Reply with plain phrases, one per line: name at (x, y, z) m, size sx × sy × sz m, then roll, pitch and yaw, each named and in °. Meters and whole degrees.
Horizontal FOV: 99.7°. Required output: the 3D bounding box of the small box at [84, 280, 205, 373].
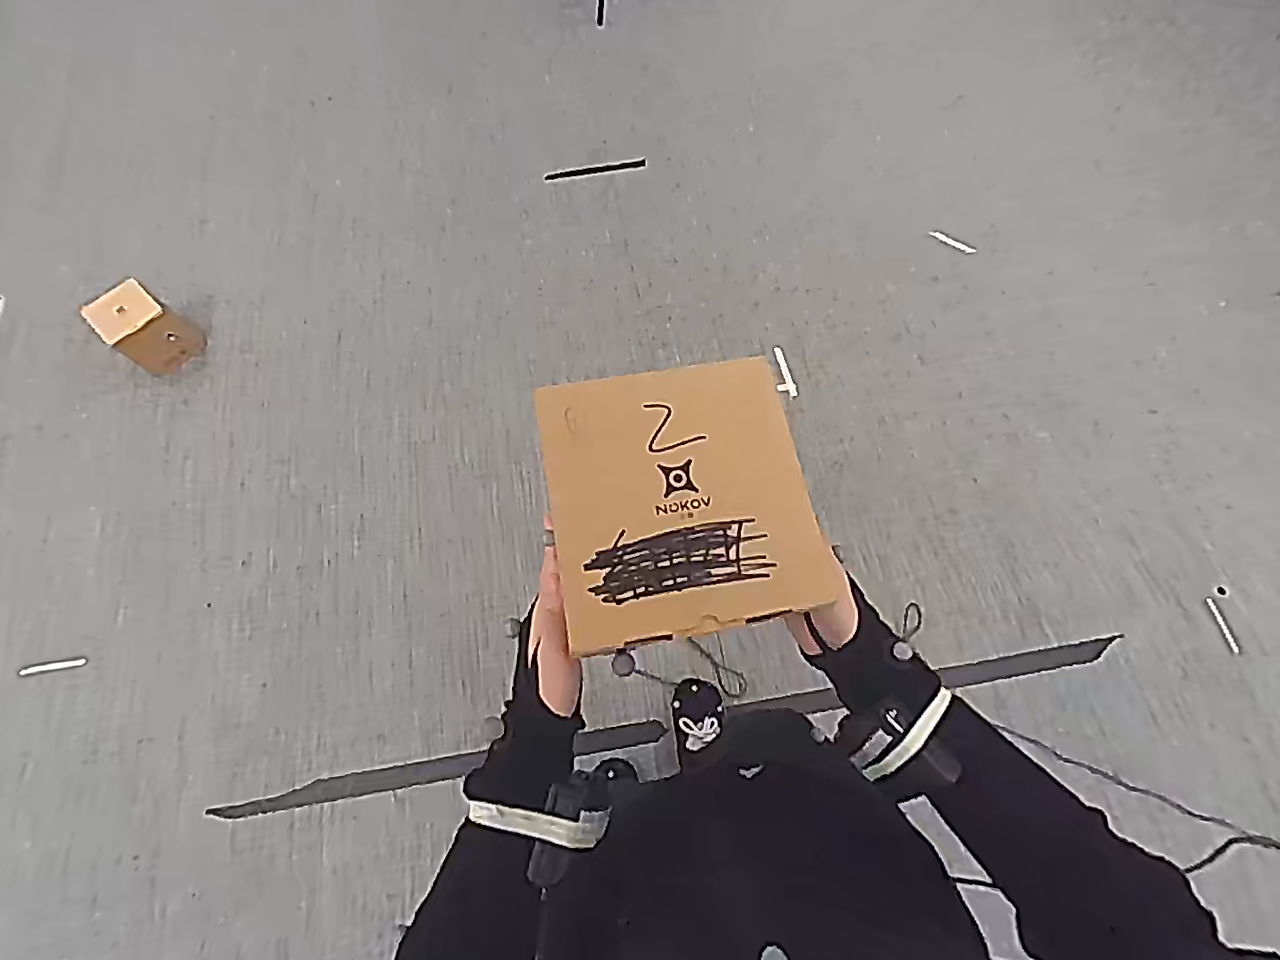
small box at (-1.453, -0.445, 1.599) m, size 0.179 × 0.176 × 0.168 m, roll 40°, pitch 73°, yaw 15°
